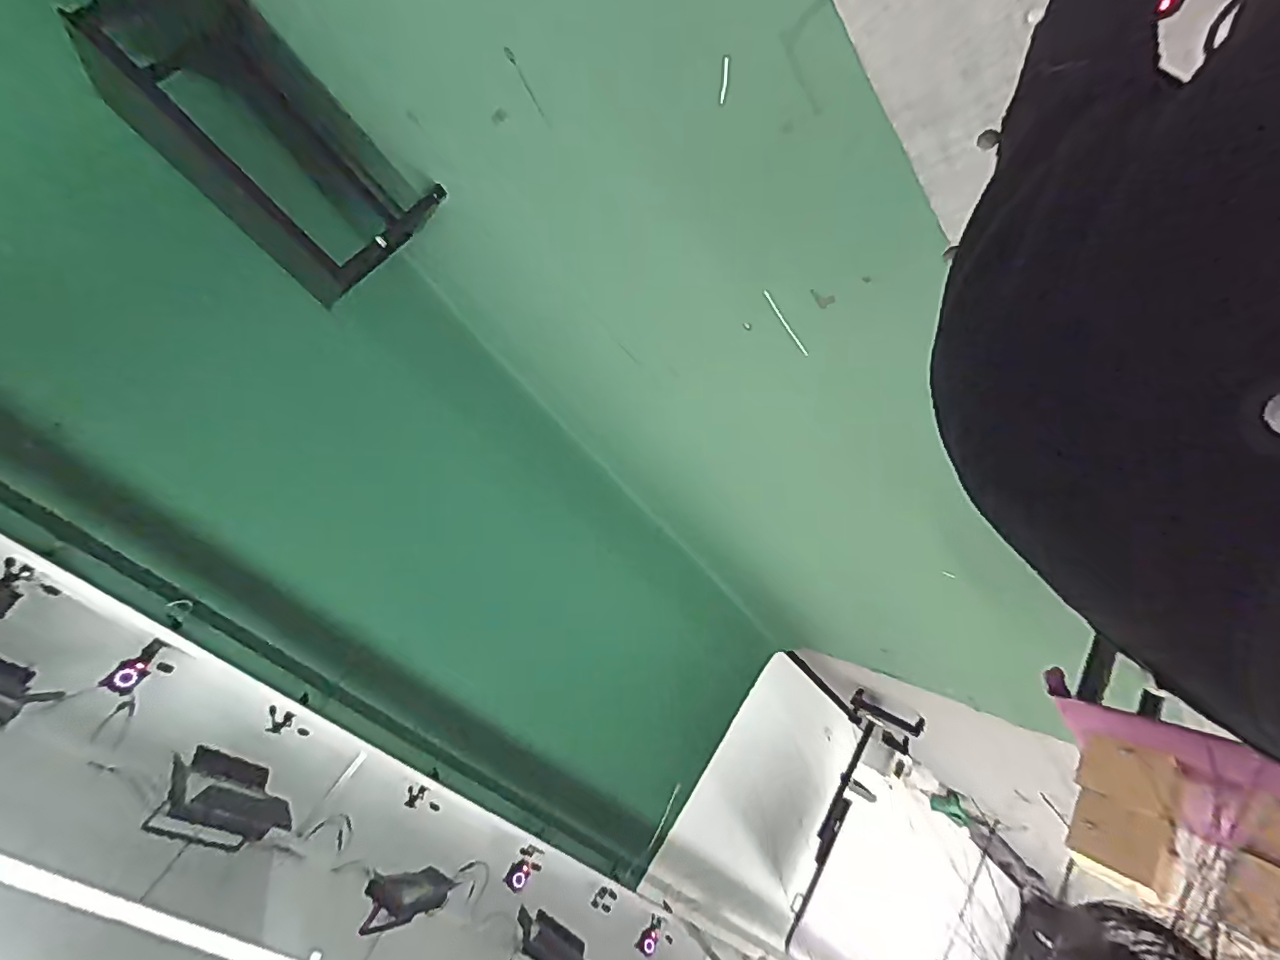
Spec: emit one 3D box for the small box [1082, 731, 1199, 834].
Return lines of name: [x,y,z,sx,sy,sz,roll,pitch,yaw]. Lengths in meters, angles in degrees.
small box: [1.342,0.806,1.449,0.168,0.176,0.179,45,159,-21]

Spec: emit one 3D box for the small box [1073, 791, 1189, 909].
small box: [1.260,0.934,1.387,0.168,0.176,0.179,47,157,-26]

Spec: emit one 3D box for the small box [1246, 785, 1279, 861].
small box: [1.513,0.828,1.206,0.179,0.176,0.168,43,159,-18]

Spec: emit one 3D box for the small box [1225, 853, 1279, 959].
small box: [1.397,0.937,1.156,0.179,0.176,0.168,10,148,51]
